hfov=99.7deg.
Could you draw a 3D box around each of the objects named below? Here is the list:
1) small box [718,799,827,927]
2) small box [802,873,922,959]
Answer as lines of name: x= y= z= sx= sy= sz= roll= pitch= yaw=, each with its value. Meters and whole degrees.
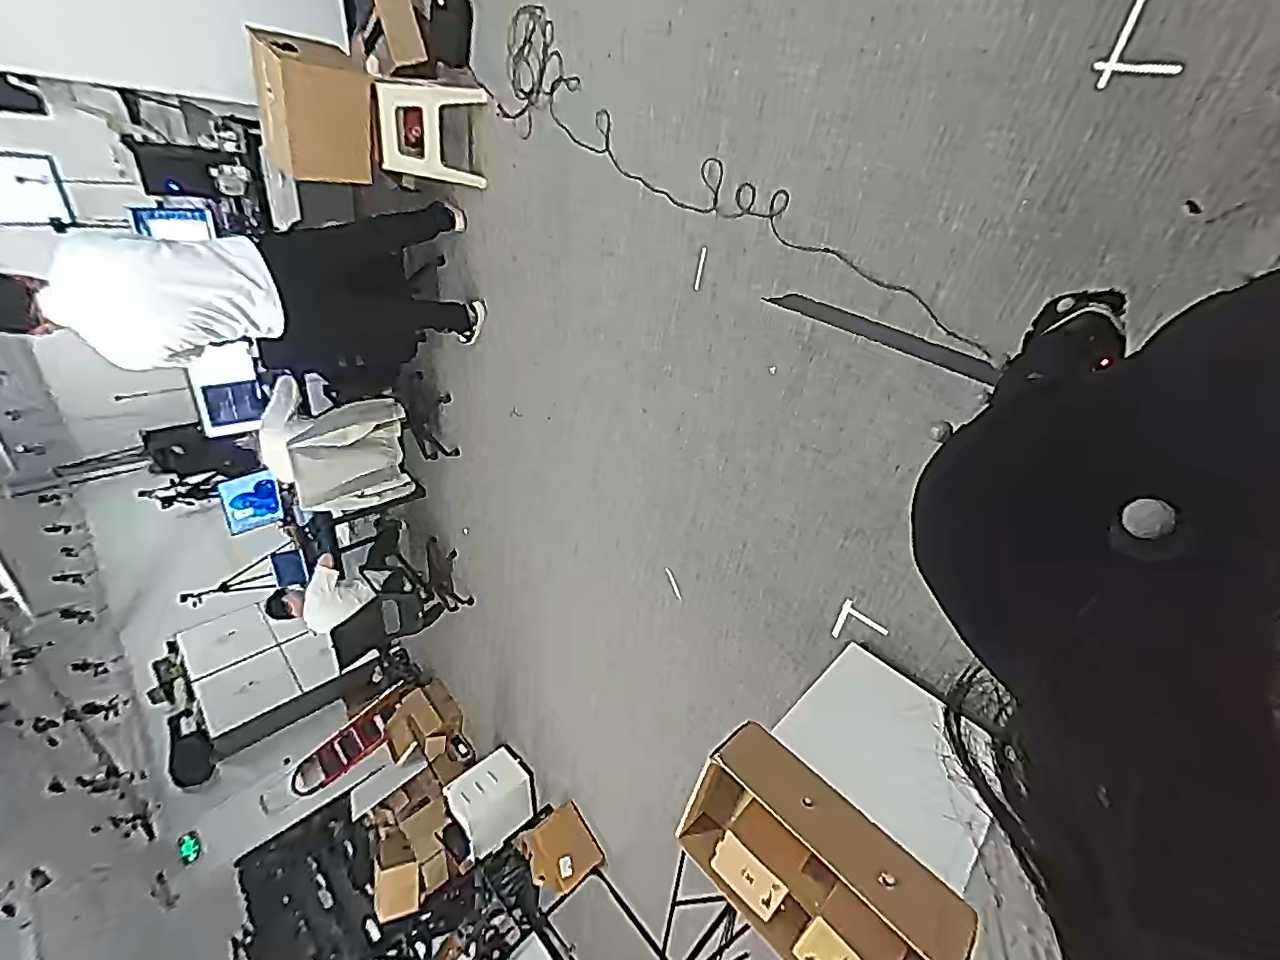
small box: x=0.330 y=0.939 z=1.348 sx=0.179 sy=0.176 sz=0.168 roll=33 pitch=124 yaw=33
small box: x=0.498 y=1.042 z=1.208 sx=0.168 sy=0.176 sz=0.179 roll=34 pitch=124 yaw=34
